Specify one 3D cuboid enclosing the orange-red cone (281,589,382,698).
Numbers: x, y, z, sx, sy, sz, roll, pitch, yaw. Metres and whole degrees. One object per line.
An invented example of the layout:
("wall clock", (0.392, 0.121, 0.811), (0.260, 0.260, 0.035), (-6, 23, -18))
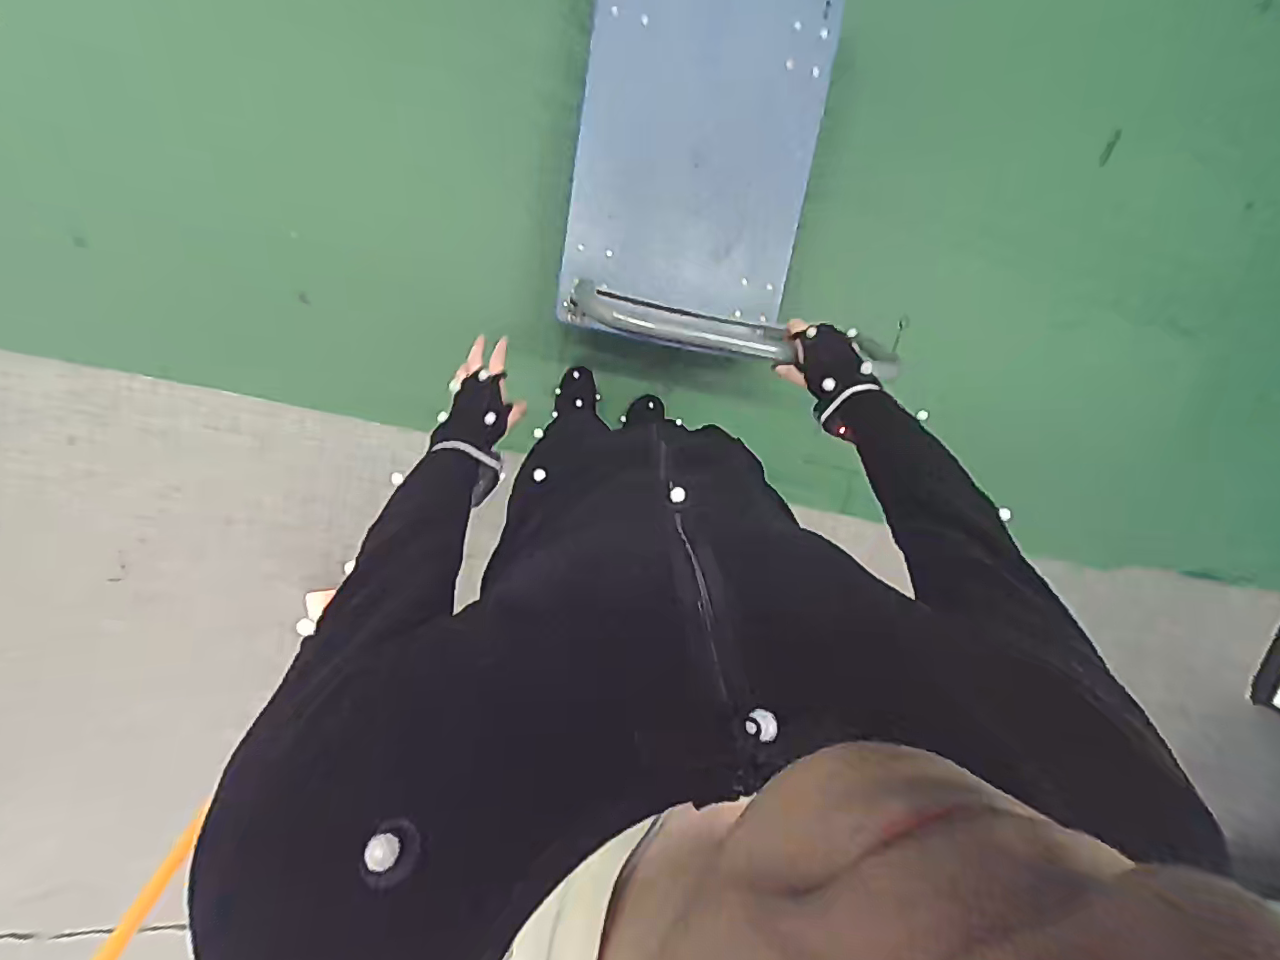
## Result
("orange-red cone", (-0.849, 0.455, 1.435), (0.199, 0.360, 0.198), (-3, 104, -7))
